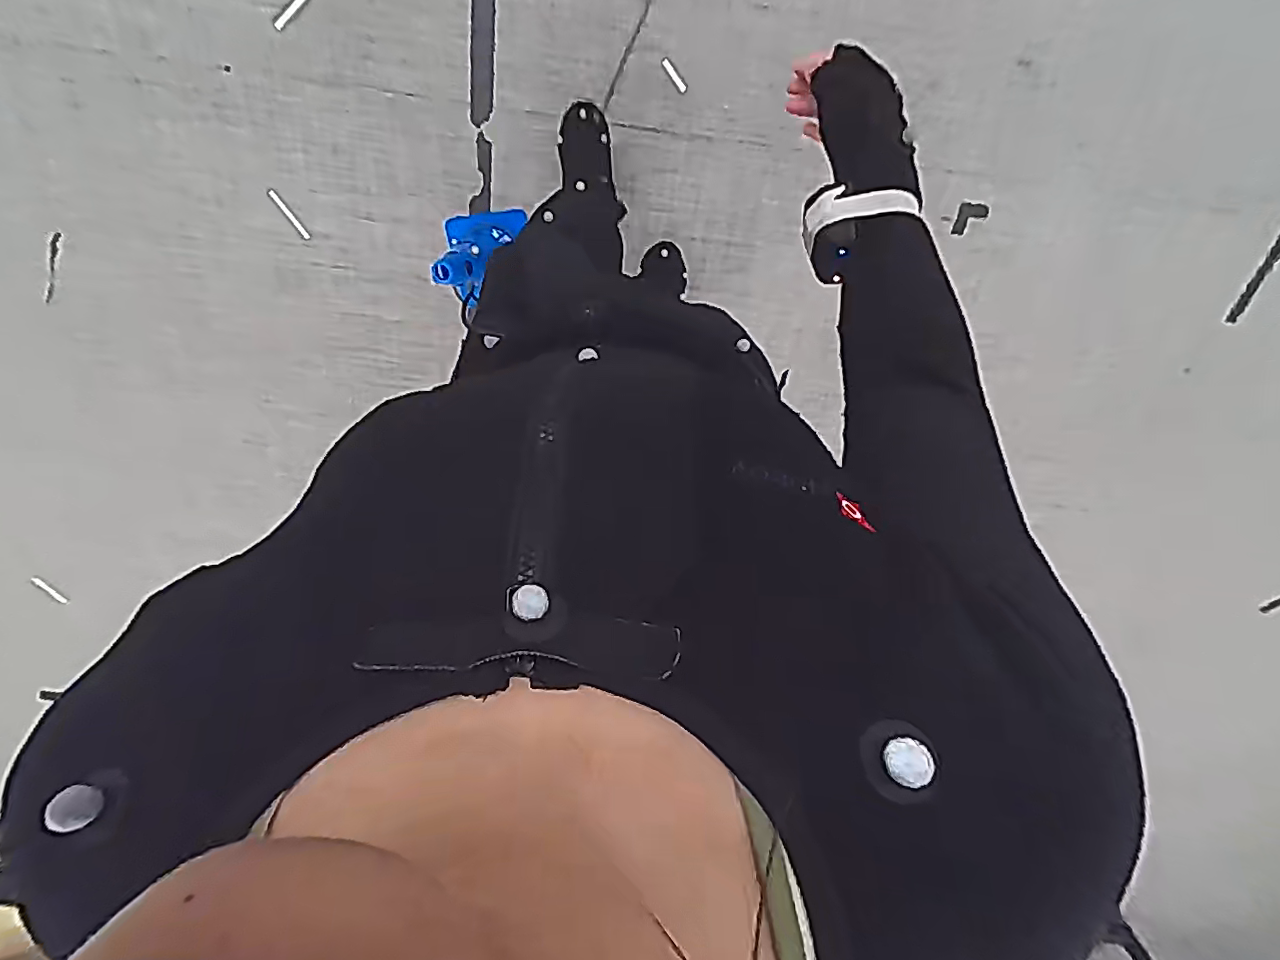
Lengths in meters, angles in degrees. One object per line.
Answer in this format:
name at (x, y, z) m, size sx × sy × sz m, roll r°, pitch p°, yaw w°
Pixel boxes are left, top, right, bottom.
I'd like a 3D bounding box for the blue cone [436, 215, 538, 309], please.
blue cone at (-0.351, -0.445, 1.134) m, size 0.193 × 0.380 × 0.192 m, roll -7°, pitch 115°, yaw 4°
